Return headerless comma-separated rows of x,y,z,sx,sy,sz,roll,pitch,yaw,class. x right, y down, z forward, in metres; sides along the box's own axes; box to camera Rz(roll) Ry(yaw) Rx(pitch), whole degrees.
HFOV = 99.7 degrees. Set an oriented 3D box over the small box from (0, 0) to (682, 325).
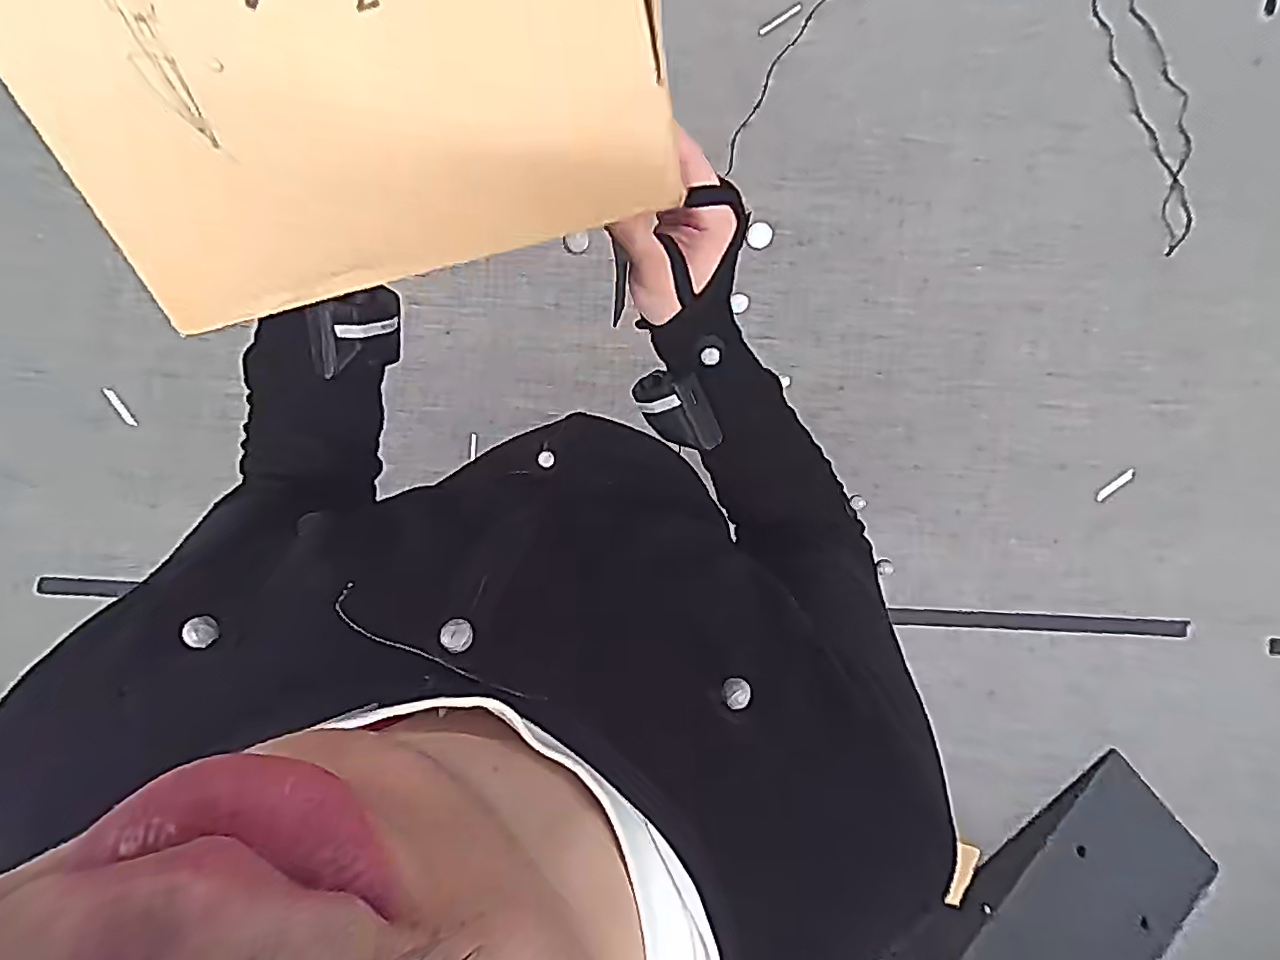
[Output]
-0.092,-0.182,0.214,0.179,0.176,0.168,-14,119,5,small box
